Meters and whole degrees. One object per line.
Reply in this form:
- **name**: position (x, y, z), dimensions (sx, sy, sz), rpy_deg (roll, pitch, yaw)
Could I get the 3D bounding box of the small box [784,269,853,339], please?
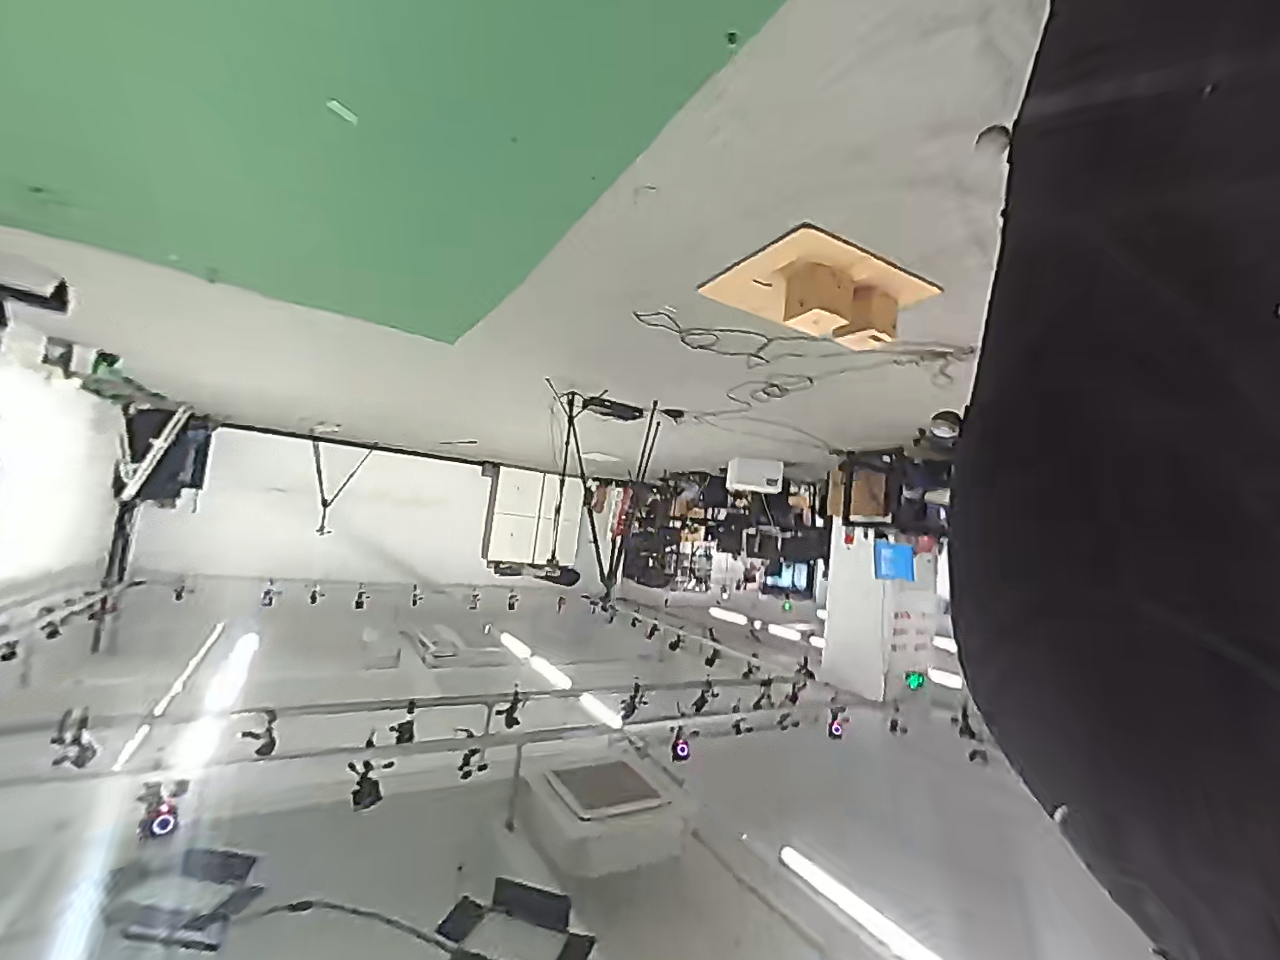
- **small box**: position (0.653, -0.639, 1.972), dimensions (0.168, 0.176, 0.179), rpy_deg (10, 172, -26)
